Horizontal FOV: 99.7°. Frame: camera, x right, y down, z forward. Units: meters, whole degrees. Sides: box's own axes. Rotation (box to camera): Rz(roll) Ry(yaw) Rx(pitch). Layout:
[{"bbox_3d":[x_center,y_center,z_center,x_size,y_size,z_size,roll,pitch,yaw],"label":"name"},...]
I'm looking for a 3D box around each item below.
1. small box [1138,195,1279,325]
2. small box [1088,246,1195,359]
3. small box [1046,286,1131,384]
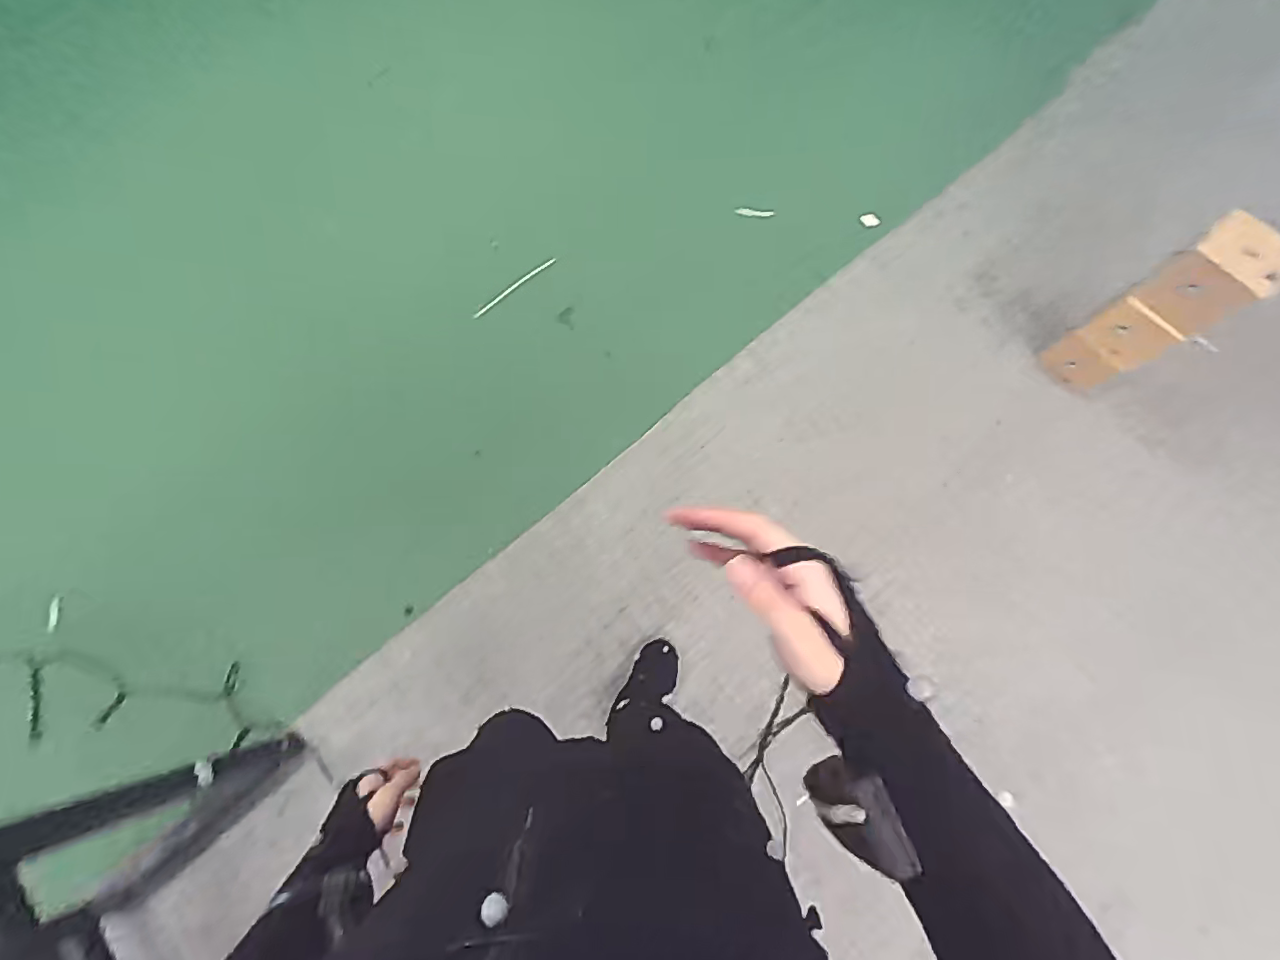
[{"bbox_3d":[1.300,-0.486,1.217,0.168,0.176,0.179,-40,76,-8],"label":"small box"},{"bbox_3d":[1.302,-0.441,1.375,0.179,0.176,0.168,-41,77,-8],"label":"small box"},{"bbox_3d":[1.307,-0.403,1.532,0.179,0.176,0.168,-39,78,-8],"label":"small box"}]
